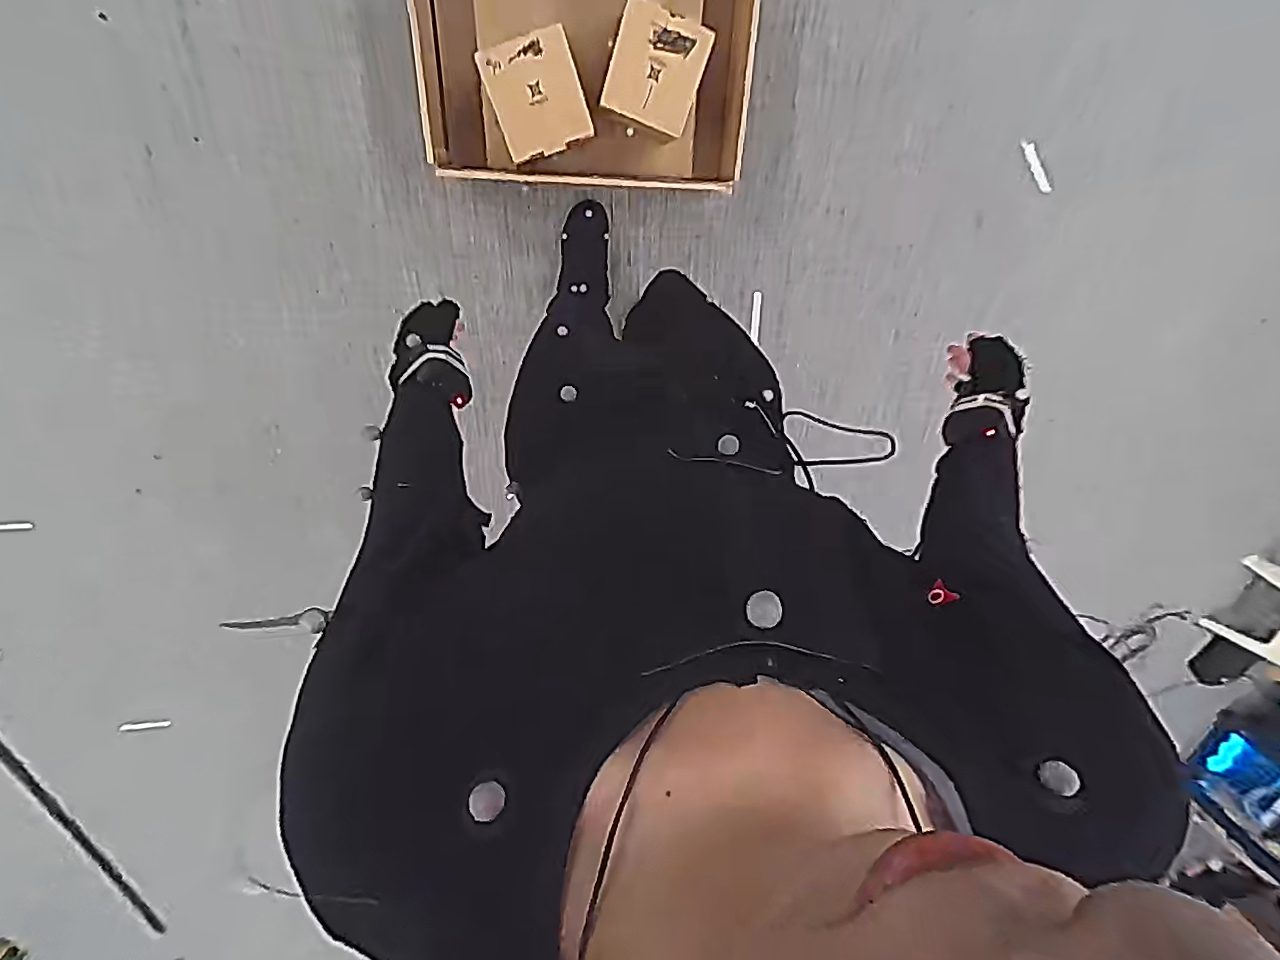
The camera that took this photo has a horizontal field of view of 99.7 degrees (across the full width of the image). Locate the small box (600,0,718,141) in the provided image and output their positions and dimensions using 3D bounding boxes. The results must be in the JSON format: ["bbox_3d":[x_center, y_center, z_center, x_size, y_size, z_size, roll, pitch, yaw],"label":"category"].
[{"bbox_3d":[0.025,-0.784,1.045,0.168,0.176,0.179,15,116,-15],"label":"small box"}]
